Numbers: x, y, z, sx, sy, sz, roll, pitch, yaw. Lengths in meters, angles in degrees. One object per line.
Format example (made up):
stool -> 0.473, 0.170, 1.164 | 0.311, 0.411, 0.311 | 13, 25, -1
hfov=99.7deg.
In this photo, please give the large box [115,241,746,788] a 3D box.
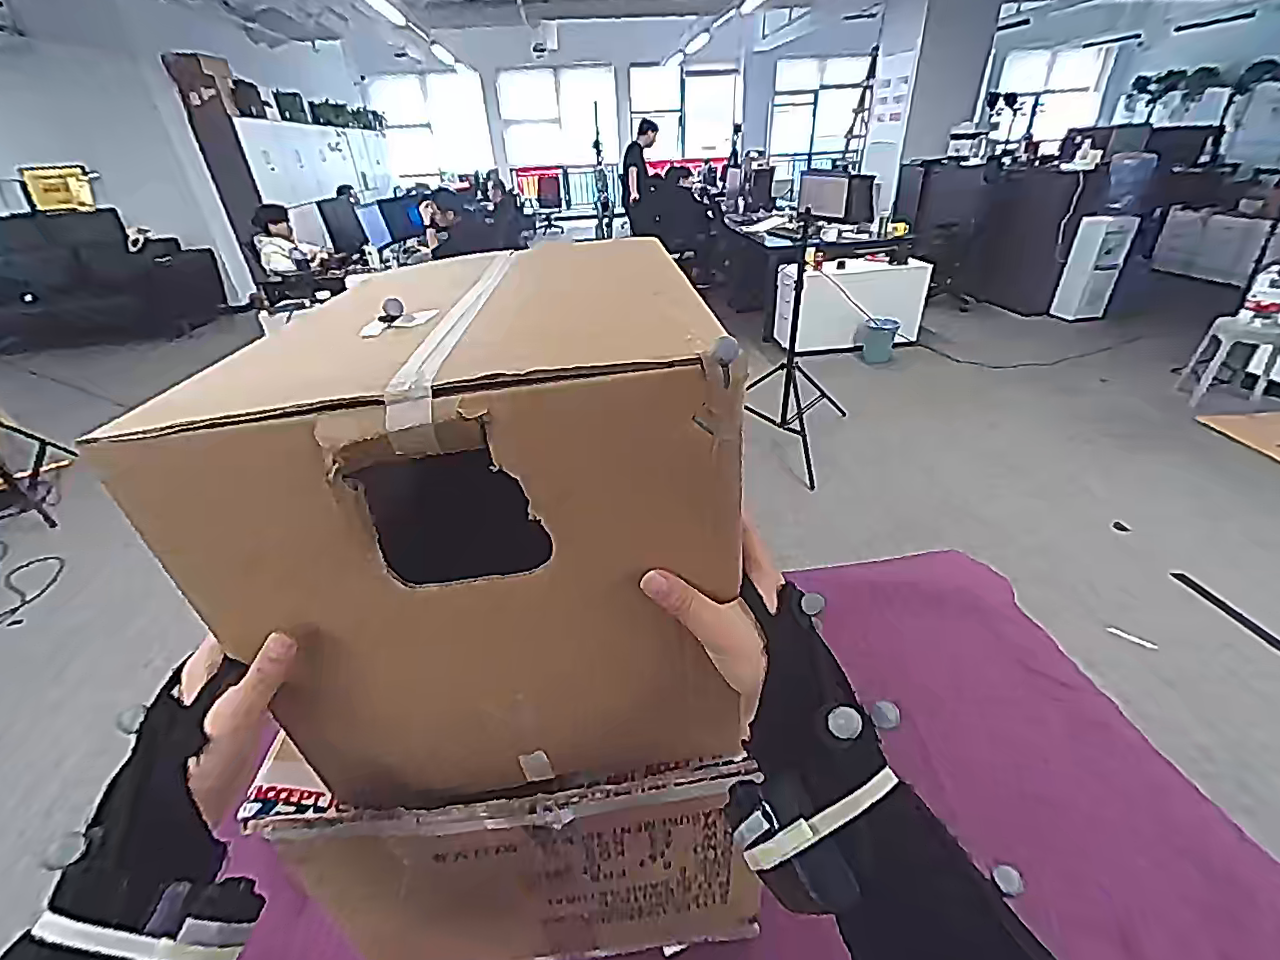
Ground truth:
large box -> -0.104, -0.012, 0.502 | 0.320, 0.320, 0.408 | -9, 32, -1
